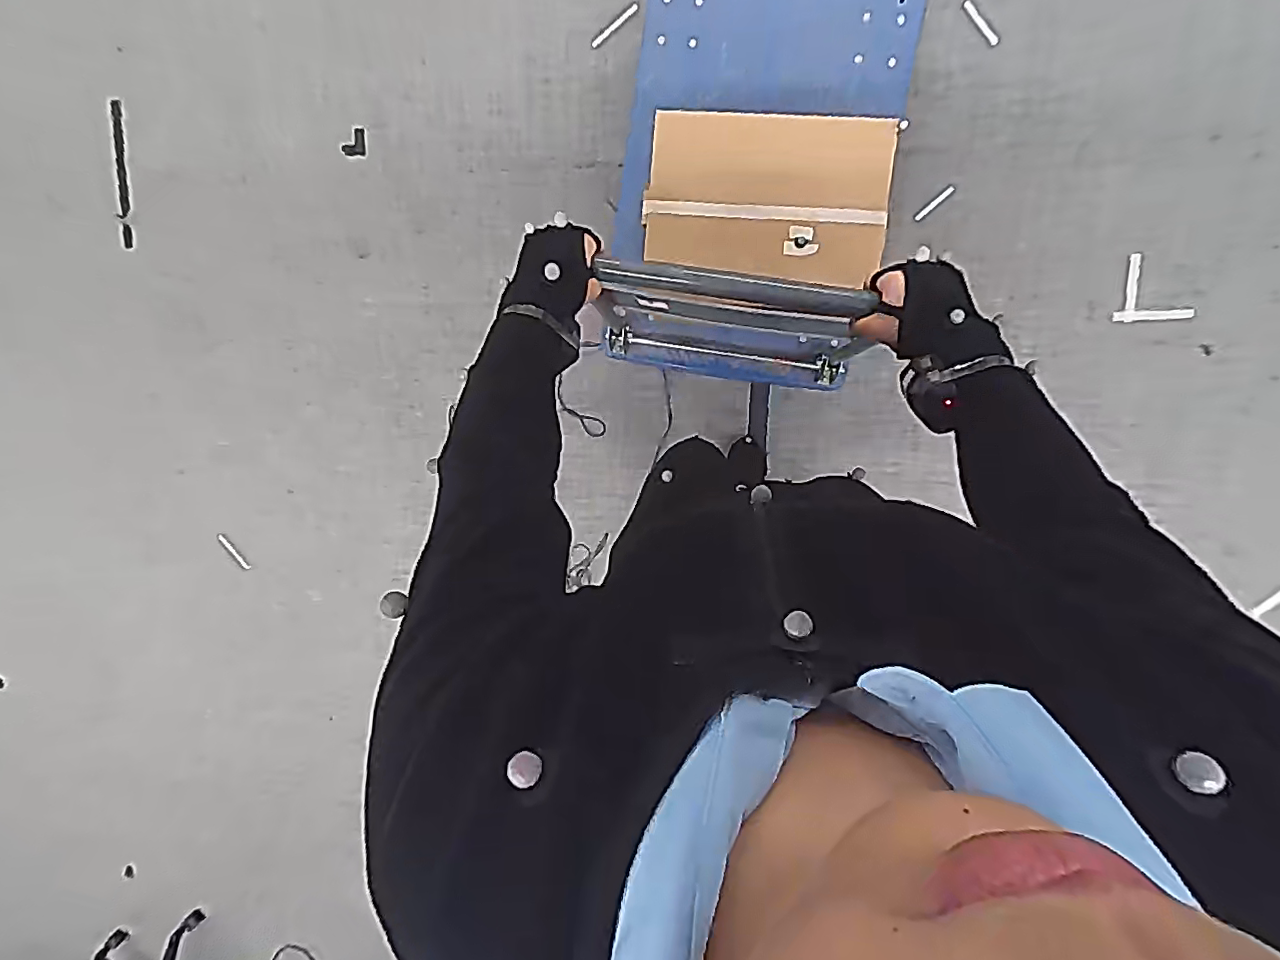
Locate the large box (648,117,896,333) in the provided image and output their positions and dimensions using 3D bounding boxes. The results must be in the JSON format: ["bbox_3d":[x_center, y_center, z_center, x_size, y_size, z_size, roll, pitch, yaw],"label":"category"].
[{"bbox_3d":[0.232,-0.479,1.082,0.408,0.320,0.320,5,100,5],"label":"large box"}]
